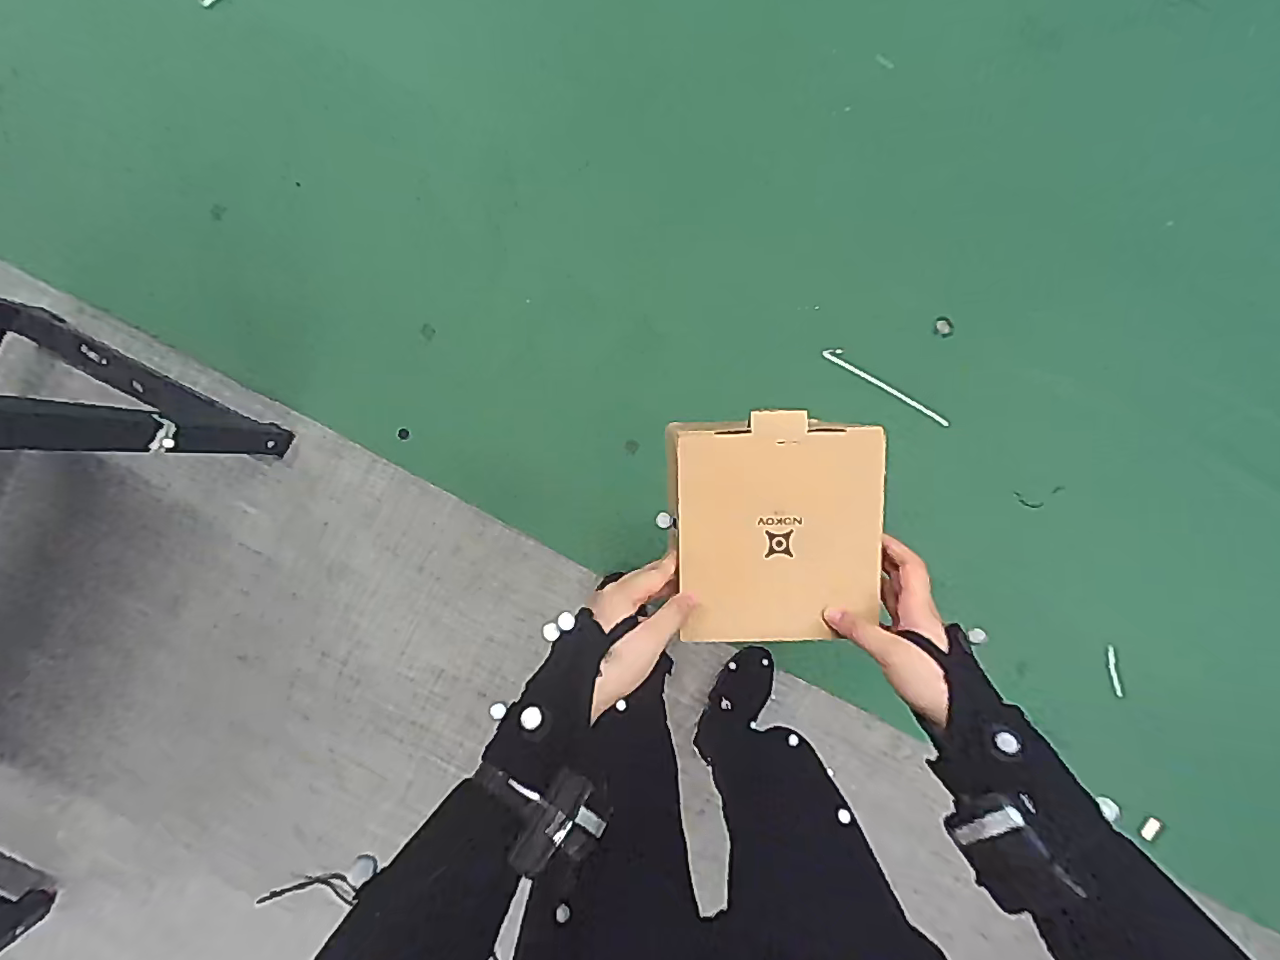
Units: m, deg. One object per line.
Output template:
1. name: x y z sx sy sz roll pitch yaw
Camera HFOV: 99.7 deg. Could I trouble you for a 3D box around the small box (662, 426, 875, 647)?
1. small box: 0.107 0.041 0.518 0.168 0.176 0.179 -2 97 0
